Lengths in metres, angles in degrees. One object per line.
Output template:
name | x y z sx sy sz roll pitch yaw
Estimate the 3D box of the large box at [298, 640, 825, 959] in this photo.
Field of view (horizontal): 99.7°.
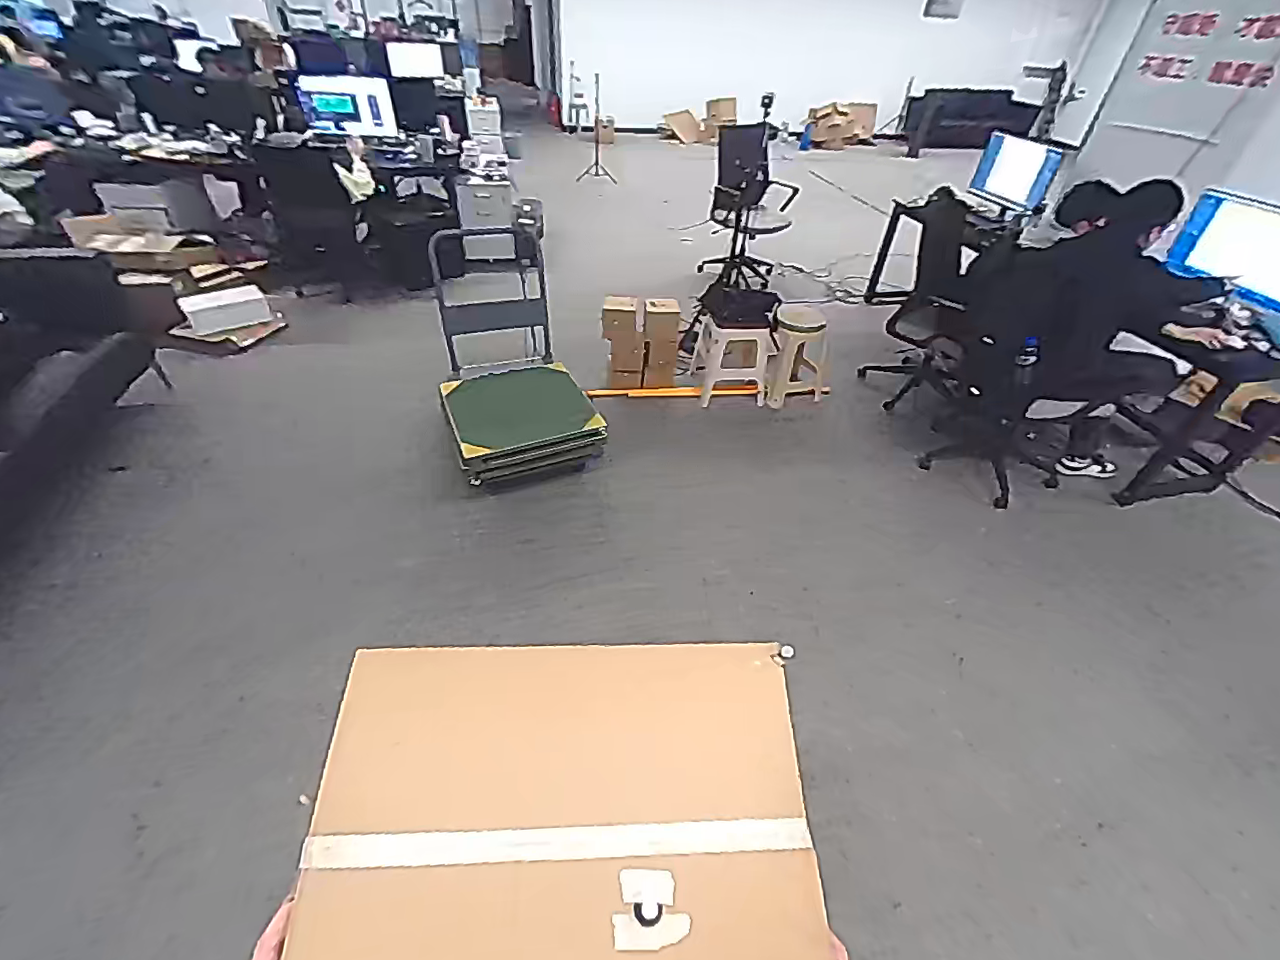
large box | -0.069 0.373 0.576 0.408 0.320 0.320 0 59 -4
